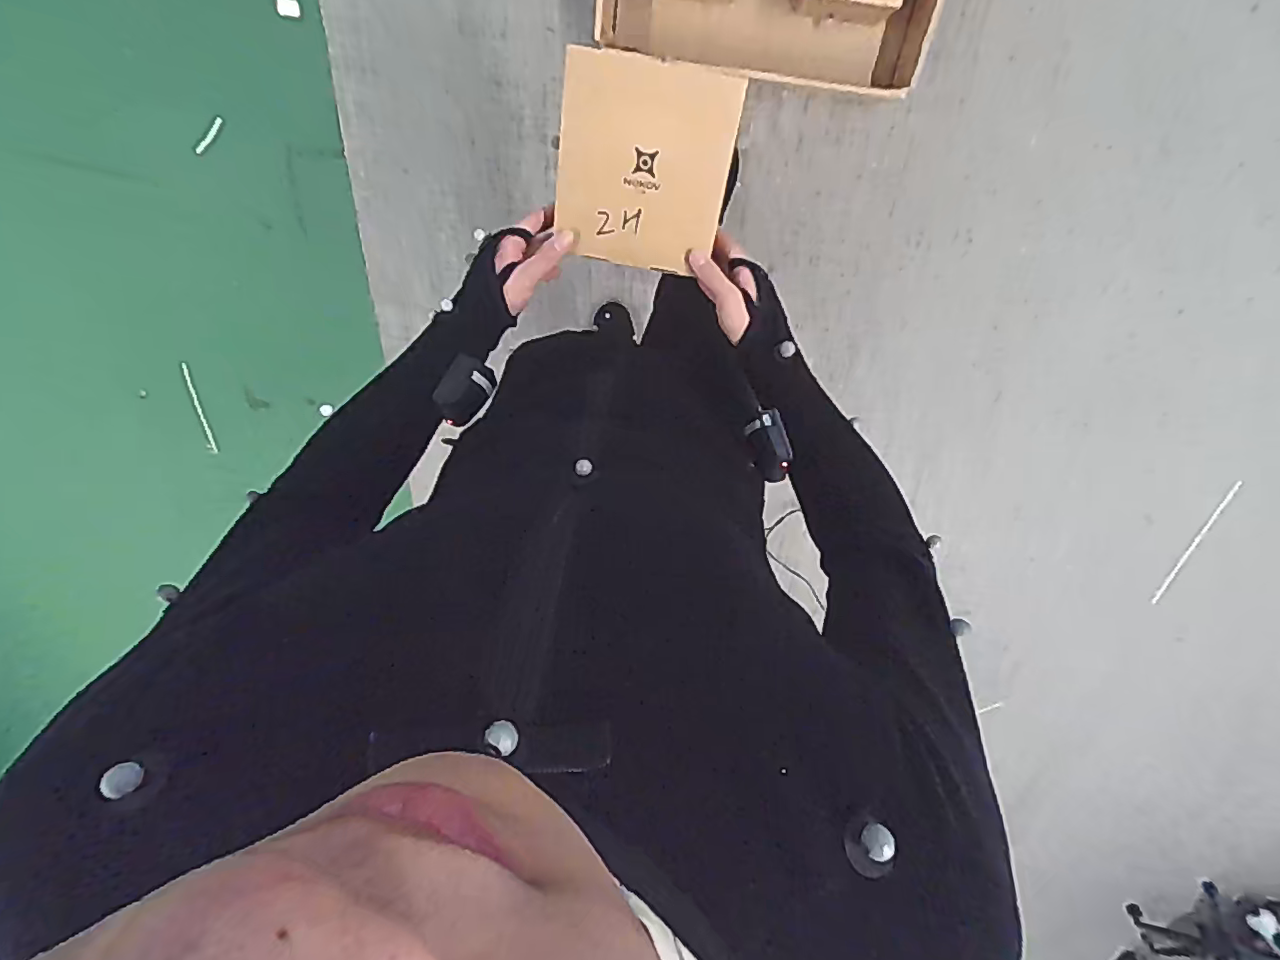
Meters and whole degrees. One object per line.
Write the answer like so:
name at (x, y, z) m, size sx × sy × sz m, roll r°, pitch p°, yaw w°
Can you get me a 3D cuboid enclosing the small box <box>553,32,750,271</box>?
small box at (0.008, -0.344, 0.585) m, size 0.168 × 0.176 × 0.179 m, roll 9°, pitch 121°, yaw -2°
